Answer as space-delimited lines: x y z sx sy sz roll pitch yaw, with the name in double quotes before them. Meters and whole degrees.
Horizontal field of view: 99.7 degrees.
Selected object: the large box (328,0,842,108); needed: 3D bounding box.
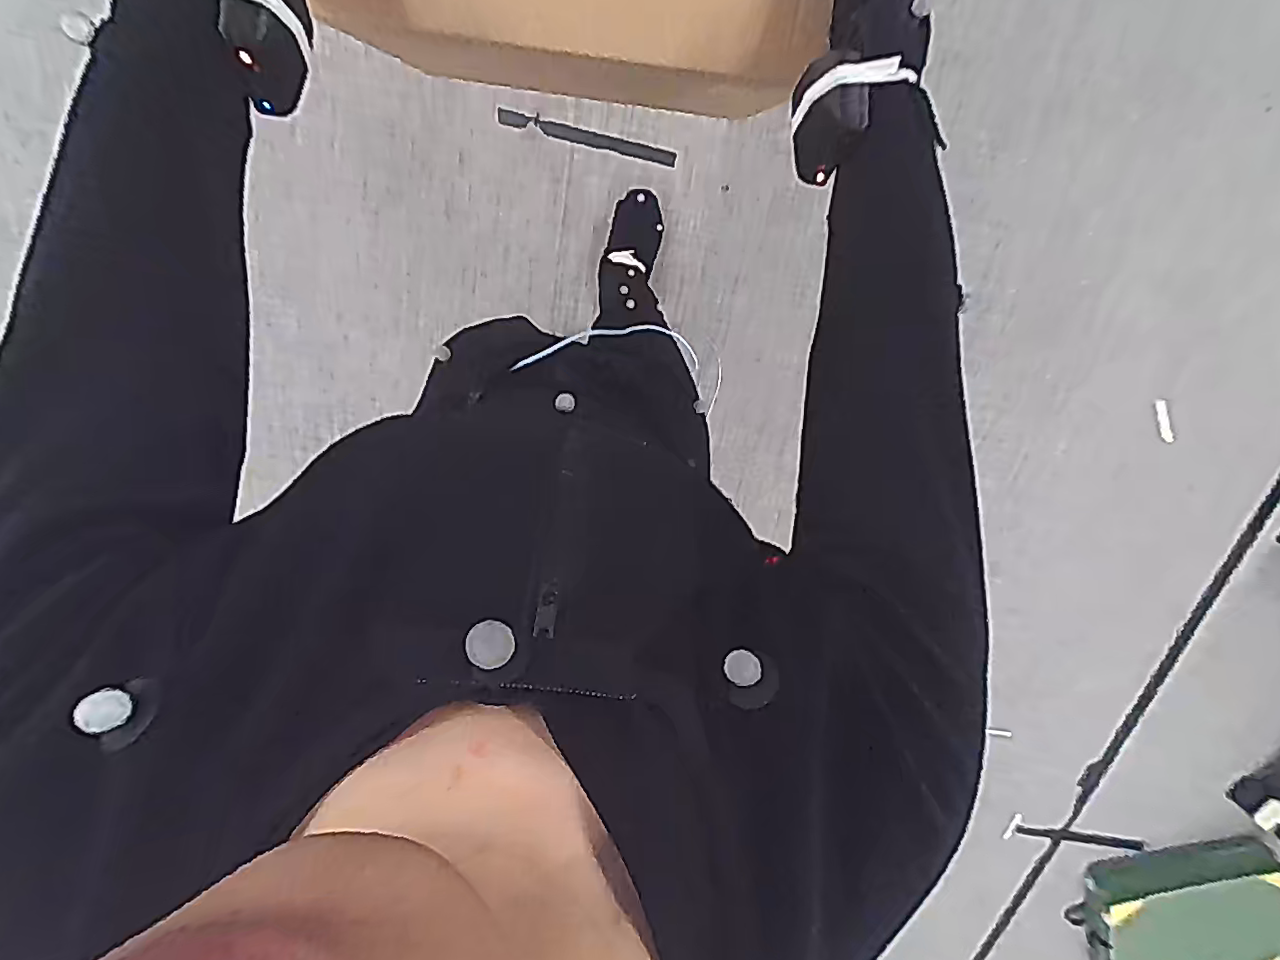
"large box" -0.037 -0.552 0.483 0.408 0.320 0.320 4 121 -6
